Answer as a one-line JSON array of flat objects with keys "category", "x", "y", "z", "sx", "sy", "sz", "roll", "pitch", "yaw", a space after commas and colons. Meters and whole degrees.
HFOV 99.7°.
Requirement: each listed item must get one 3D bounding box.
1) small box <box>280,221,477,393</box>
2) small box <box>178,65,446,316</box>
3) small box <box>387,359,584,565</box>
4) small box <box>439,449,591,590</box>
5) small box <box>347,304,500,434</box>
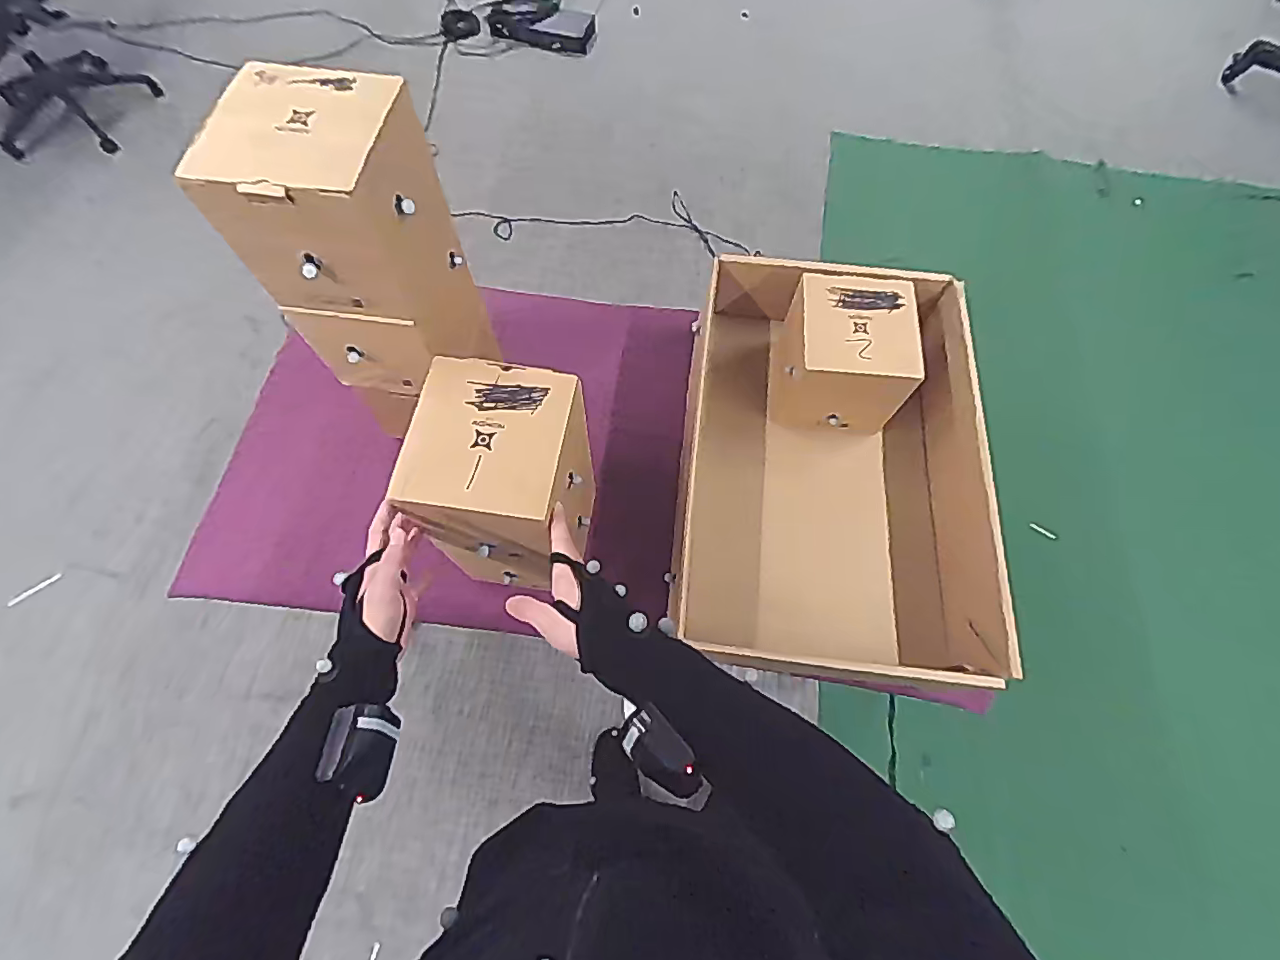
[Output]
[{"category": "small box", "x": -0.337, "y": -0.235, "z": 0.740, "sx": 0.168, "sy": 0.176, "sz": 0.179, "roll": 7, "pitch": 66, "yaw": 1}, {"category": "small box", "x": -0.331, "y": -0.304, "z": 0.592, "sx": 0.168, "sy": 0.176, "sz": 0.179, "roll": 7, "pitch": 67, "yaw": 0}, {"category": "small box", "x": -0.163, "y": -0.014, "z": 0.642, "sx": 0.168, "sy": 0.176, "sz": 0.179, "roll": 8, "pitch": 66, "yaw": 3}, {"category": "small box", "x": -0.167, "y": 0.053, "z": 0.792, "sx": 0.168, "sy": 0.176, "sz": 0.179, "roll": 8, "pitch": 66, "yaw": 2}, {"category": "small box", "x": -0.339, "y": -0.175, "z": 0.891, "sx": 0.168, "sy": 0.176, "sz": 0.179, "roll": 7, "pitch": 66, "yaw": 1}]
